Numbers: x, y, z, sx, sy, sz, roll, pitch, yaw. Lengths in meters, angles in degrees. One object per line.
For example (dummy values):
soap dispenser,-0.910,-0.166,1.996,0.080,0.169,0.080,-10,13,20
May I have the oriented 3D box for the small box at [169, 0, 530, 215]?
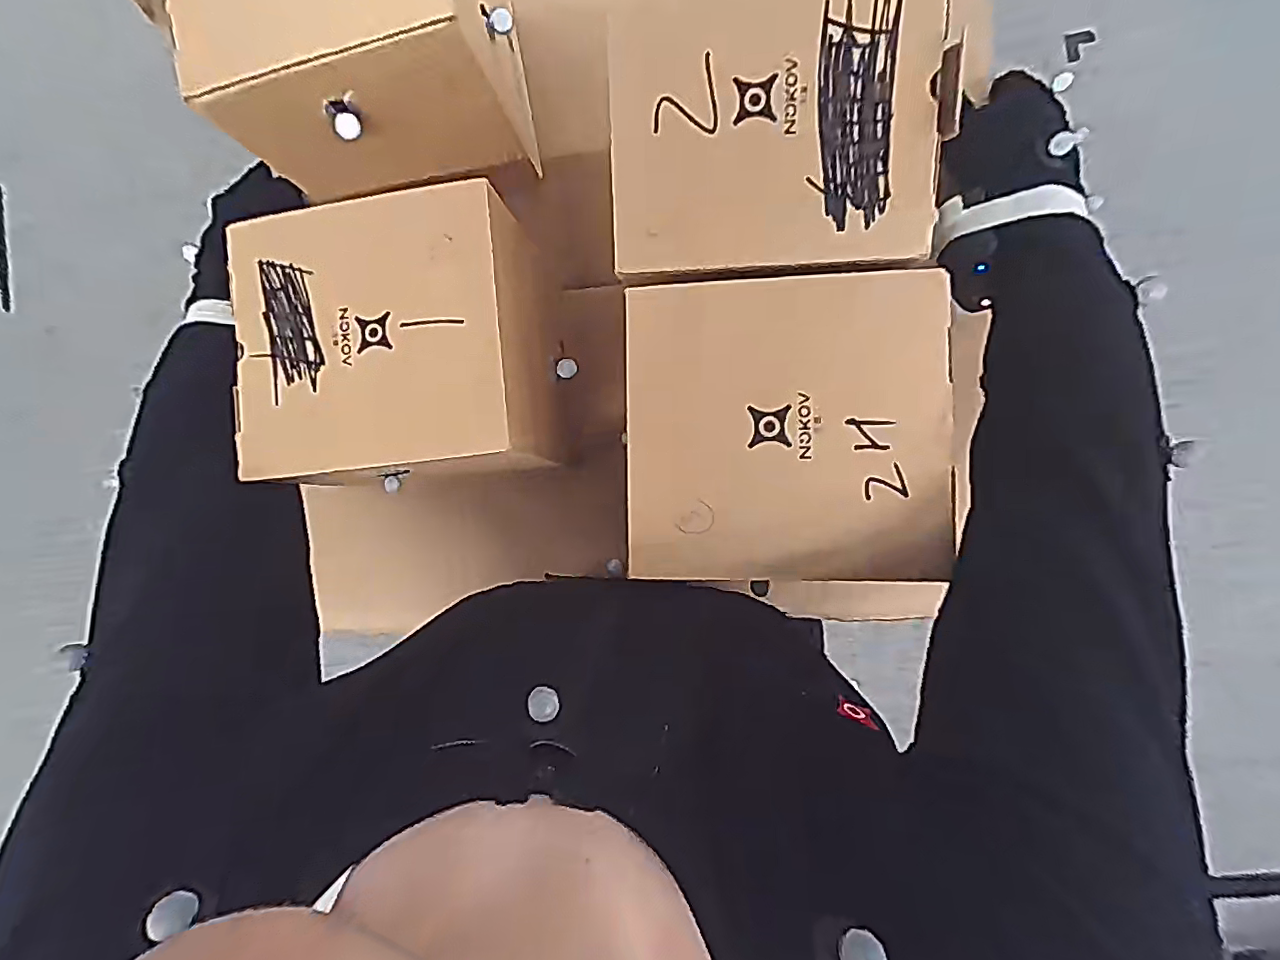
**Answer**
small box,-0.190,-0.325,0.391,0.179,0.176,0.168,-10,88,8
